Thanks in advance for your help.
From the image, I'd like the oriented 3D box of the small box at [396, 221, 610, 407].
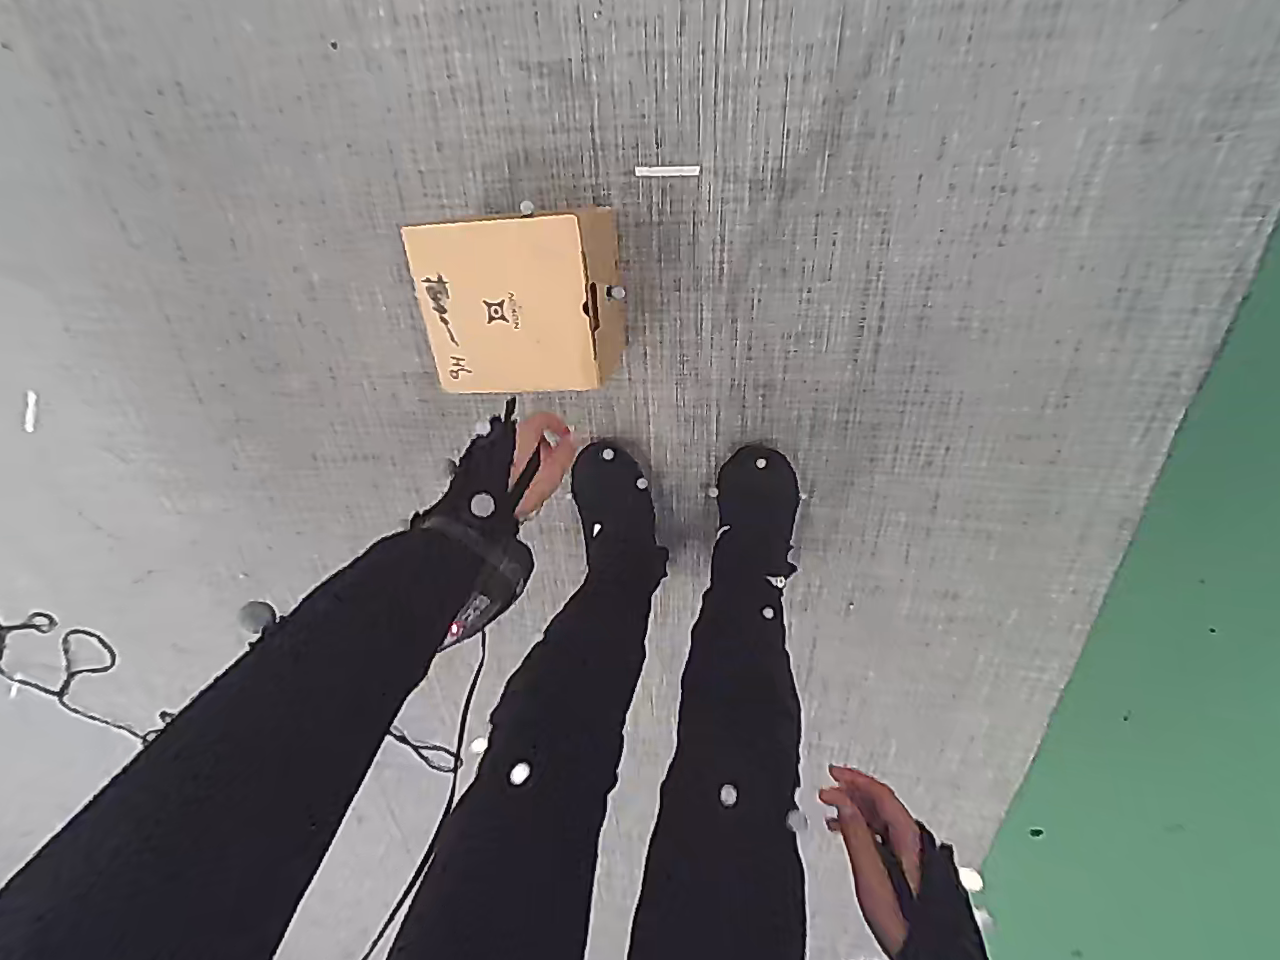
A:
[{"bbox_3d":[-0.132,-0.189,0.604,0.179,0.176,0.168,0,119,8],"label":"small box"}]
